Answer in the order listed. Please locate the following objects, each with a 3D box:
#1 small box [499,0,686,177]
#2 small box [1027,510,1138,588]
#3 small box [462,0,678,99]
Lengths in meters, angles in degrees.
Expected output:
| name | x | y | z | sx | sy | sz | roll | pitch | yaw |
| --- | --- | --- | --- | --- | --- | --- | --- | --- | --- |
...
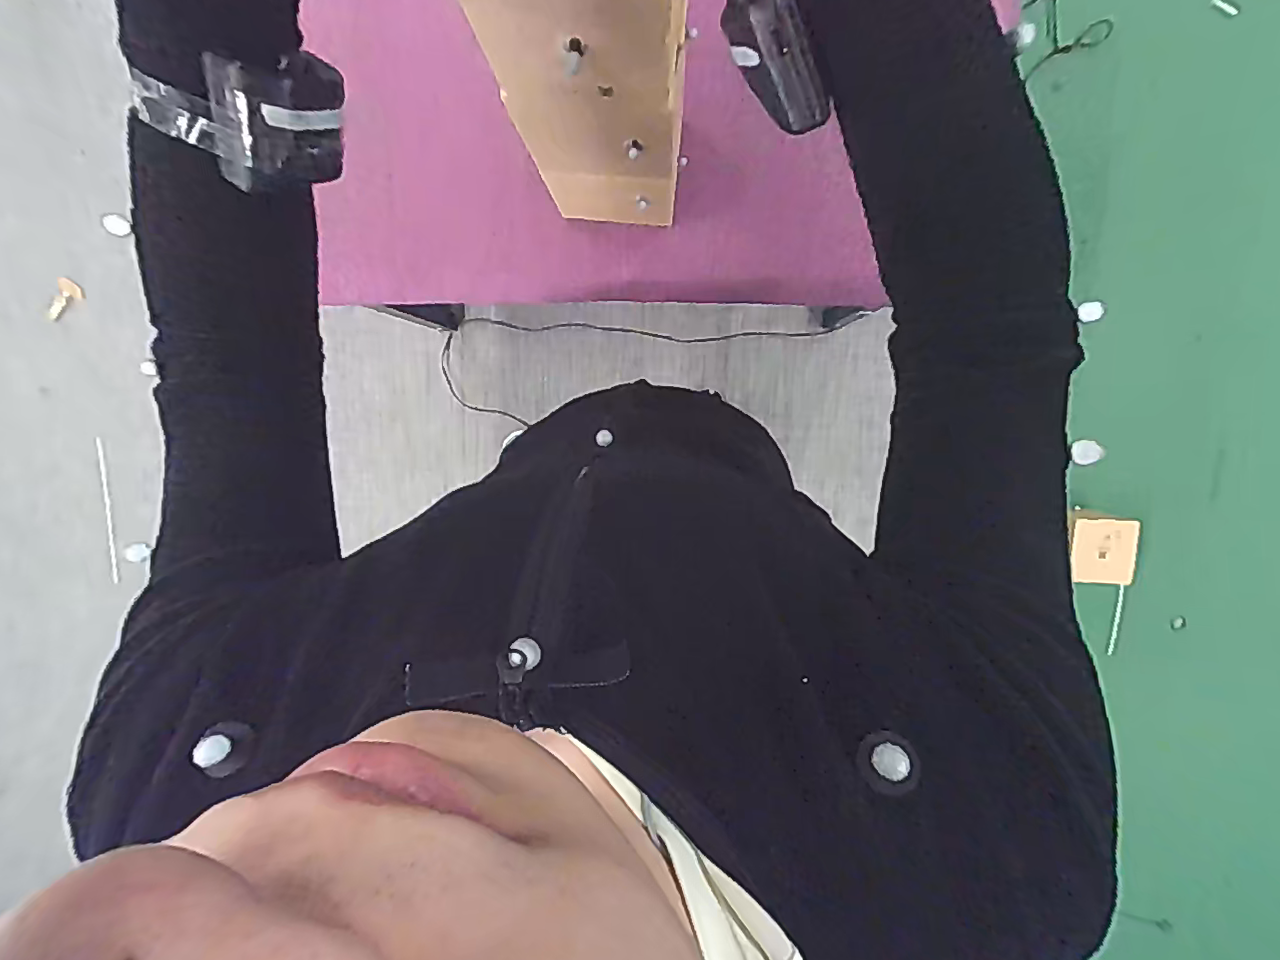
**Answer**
| name | x | y | z | sx | sy | sz | roll | pitch | yaw |
| --- | --- | --- | --- | --- | --- | --- | --- | --- | --- |
| small box | -0.042 | -0.461 | 0.602 | 0.179 | 0.176 | 0.168 | 6 | 97 | 2 |
| small box | 1.221 | 0.187 | 1.506 | 0.168 | 0.176 | 0.179 | 2 | 97 | 3 |
| small box | -0.049 | -0.449 | 0.440 | 0.168 | 0.176 | 0.179 | 6 | 97 | 2 |
